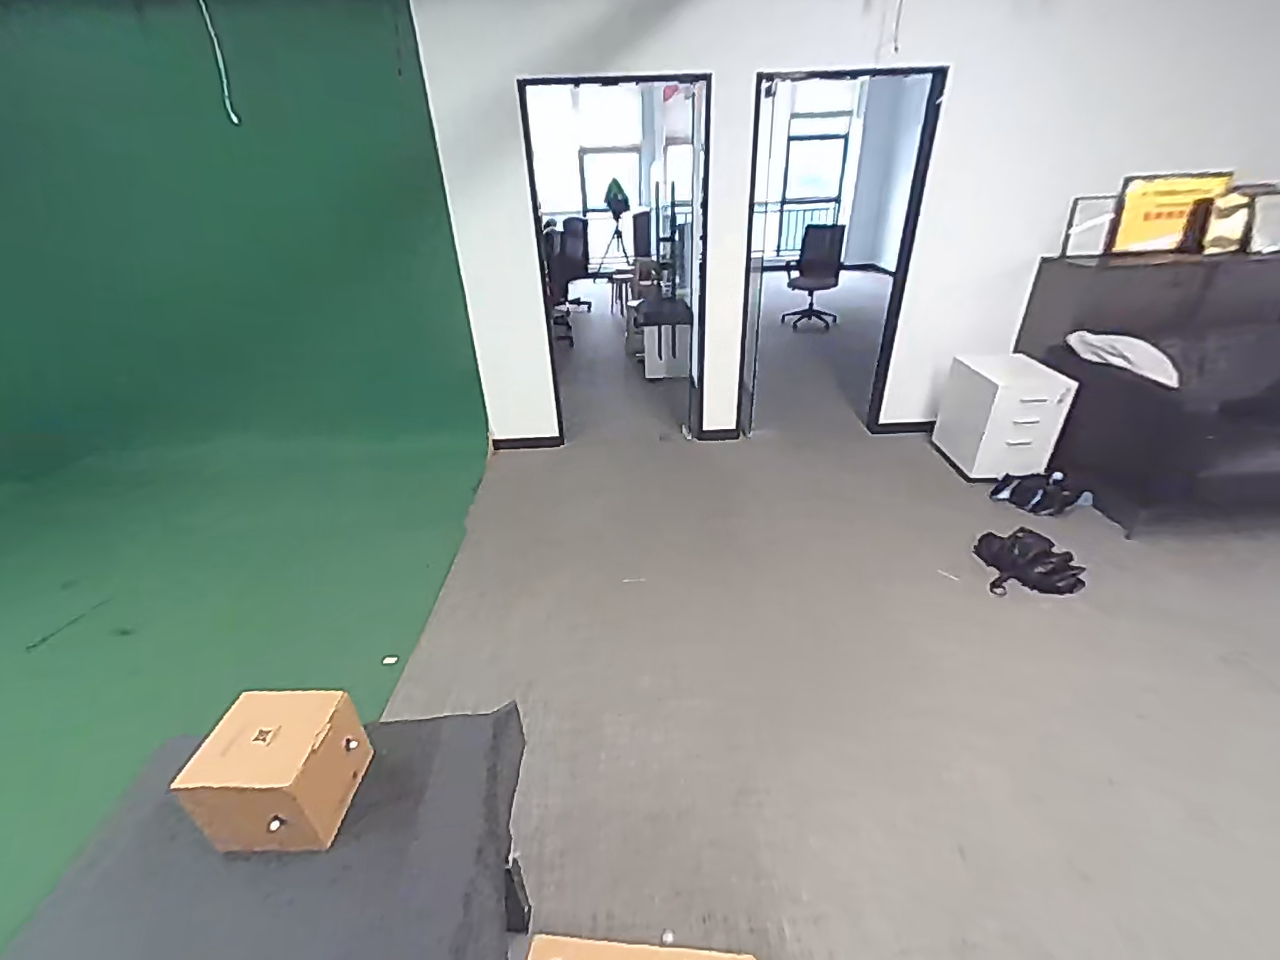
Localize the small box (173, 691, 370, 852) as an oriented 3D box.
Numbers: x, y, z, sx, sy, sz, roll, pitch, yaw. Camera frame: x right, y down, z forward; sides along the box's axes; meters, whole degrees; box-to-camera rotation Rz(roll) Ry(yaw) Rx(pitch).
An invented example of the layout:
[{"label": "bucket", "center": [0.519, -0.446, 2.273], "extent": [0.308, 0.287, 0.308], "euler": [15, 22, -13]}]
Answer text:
[{"label": "small box", "center": [-0.563, 0.460, 0.859], "extent": [0.179, 0.176, 0.168], "euler": [-2, 28, 2]}]
